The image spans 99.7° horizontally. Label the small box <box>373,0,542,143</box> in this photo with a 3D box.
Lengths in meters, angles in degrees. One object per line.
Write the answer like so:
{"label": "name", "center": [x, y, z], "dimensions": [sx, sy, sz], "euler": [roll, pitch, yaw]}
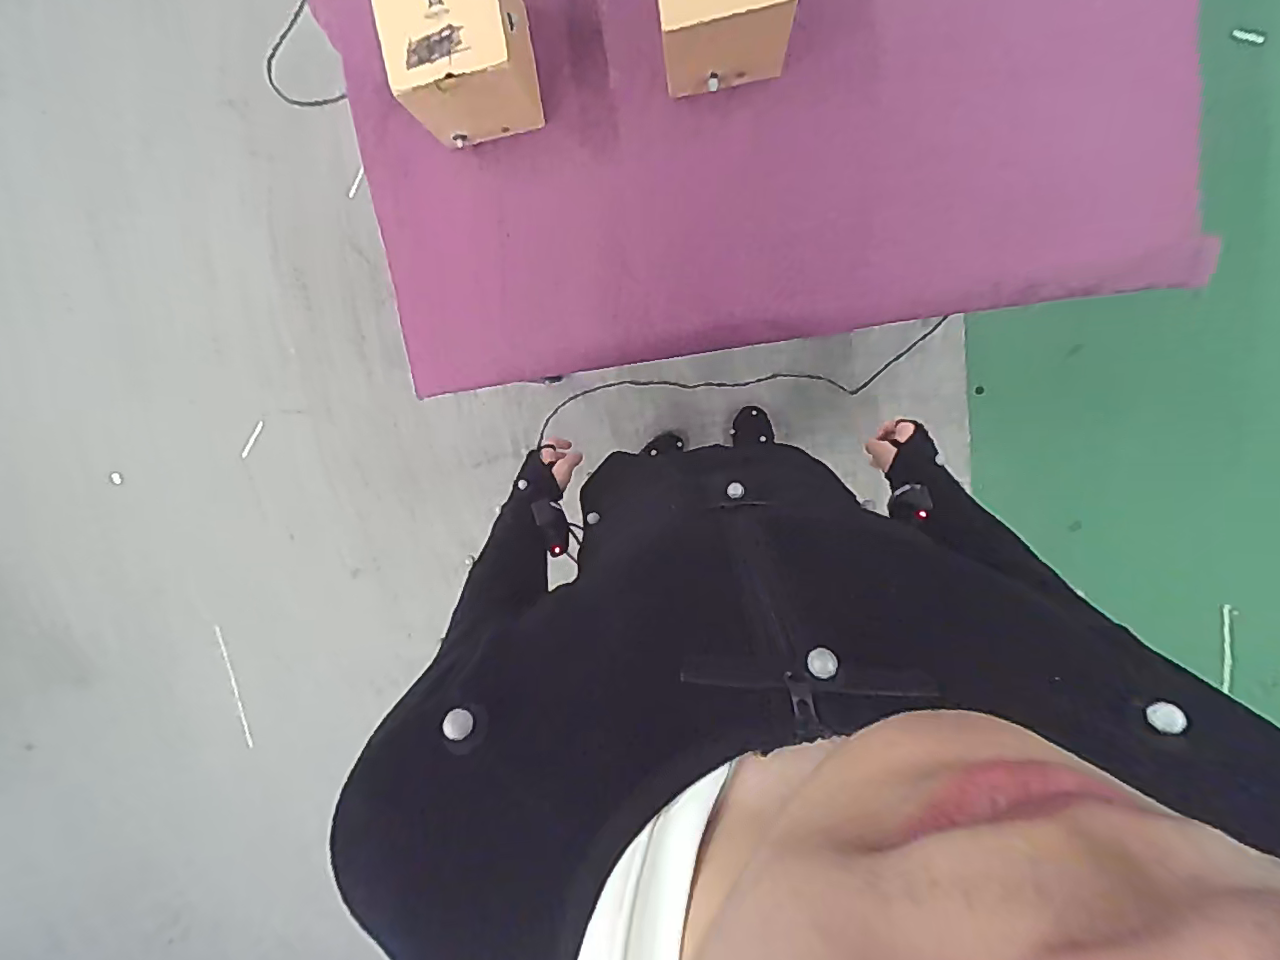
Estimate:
{"label": "small box", "center": [-0.249, -0.610, 0.765], "dimensions": [0.168, 0.176, 0.179], "euler": [-8, 97, 7]}

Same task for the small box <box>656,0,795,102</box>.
{"label": "small box", "center": [0.104, -0.653, 0.721], "dimensions": [0.168, 0.176, 0.179], "euler": [-7, 98, 8]}
